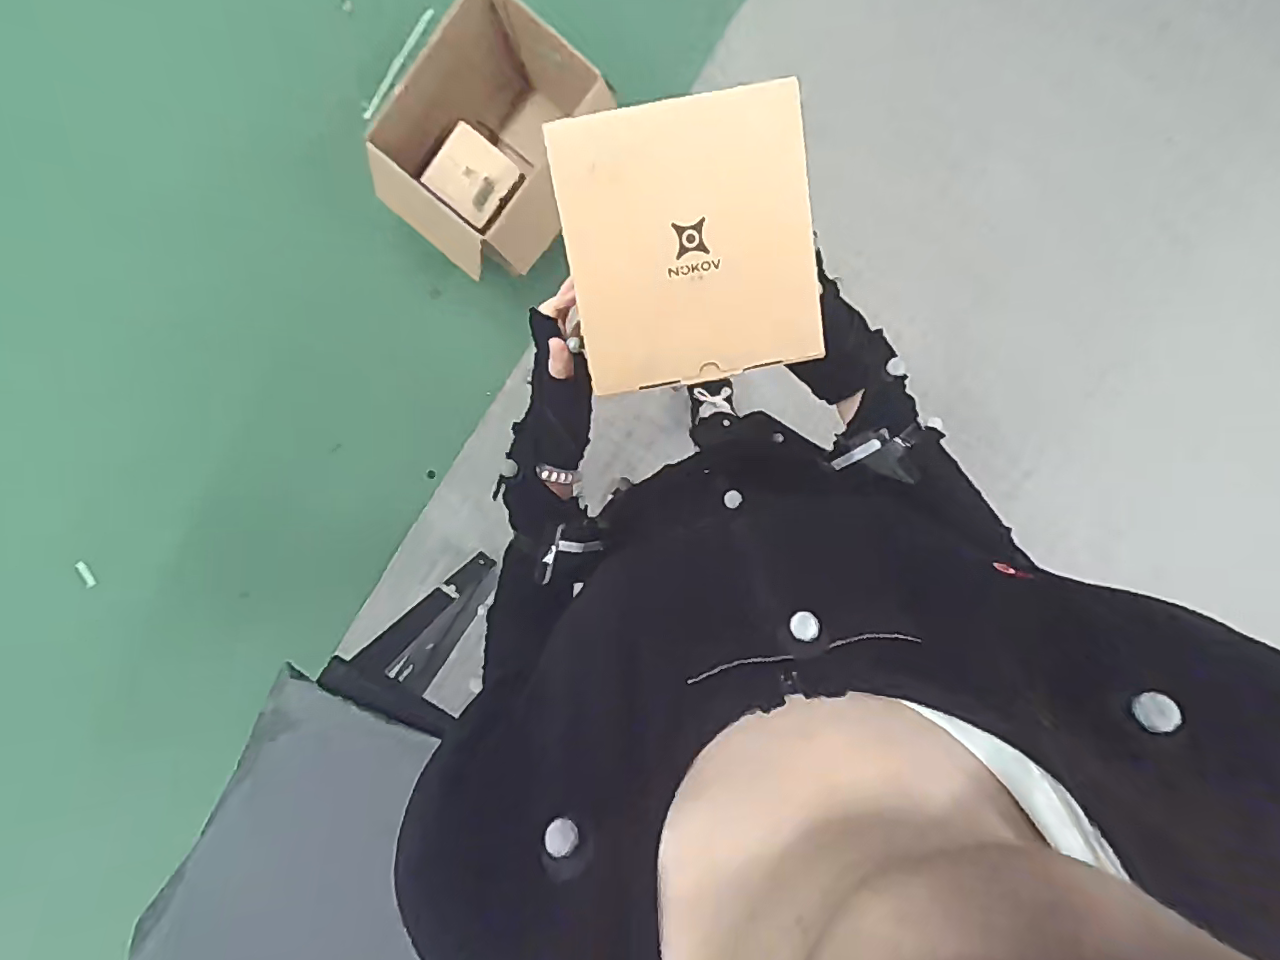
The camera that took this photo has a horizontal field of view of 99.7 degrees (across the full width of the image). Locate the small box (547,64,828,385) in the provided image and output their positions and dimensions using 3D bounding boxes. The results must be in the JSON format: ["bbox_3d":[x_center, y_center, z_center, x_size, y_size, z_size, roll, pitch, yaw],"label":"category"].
[{"bbox_3d":[0.030,-0.179,0.432,0.168,0.176,0.179,-12,103,-1],"label":"small box"}]
